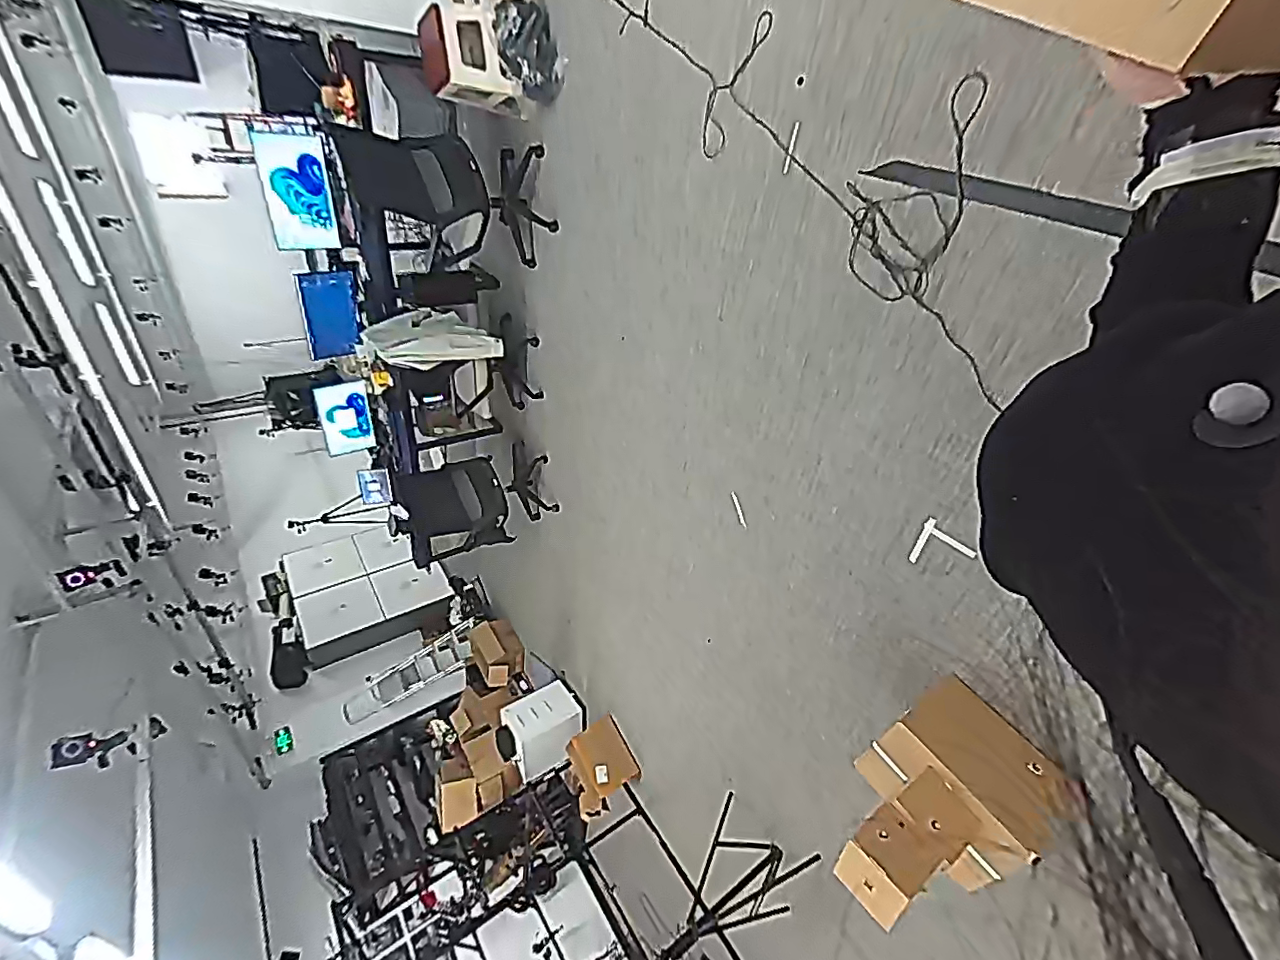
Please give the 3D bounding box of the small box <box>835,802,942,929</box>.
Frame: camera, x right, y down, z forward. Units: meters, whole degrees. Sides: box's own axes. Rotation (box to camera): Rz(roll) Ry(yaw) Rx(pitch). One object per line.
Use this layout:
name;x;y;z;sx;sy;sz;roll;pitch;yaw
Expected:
small box;0.634;0.972;1.378;0.168;0.176;0.179;37;135;44

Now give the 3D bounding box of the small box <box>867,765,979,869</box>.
small box;0.764;0.914;1.458;0.179;0.176;0.168;50;141;32
